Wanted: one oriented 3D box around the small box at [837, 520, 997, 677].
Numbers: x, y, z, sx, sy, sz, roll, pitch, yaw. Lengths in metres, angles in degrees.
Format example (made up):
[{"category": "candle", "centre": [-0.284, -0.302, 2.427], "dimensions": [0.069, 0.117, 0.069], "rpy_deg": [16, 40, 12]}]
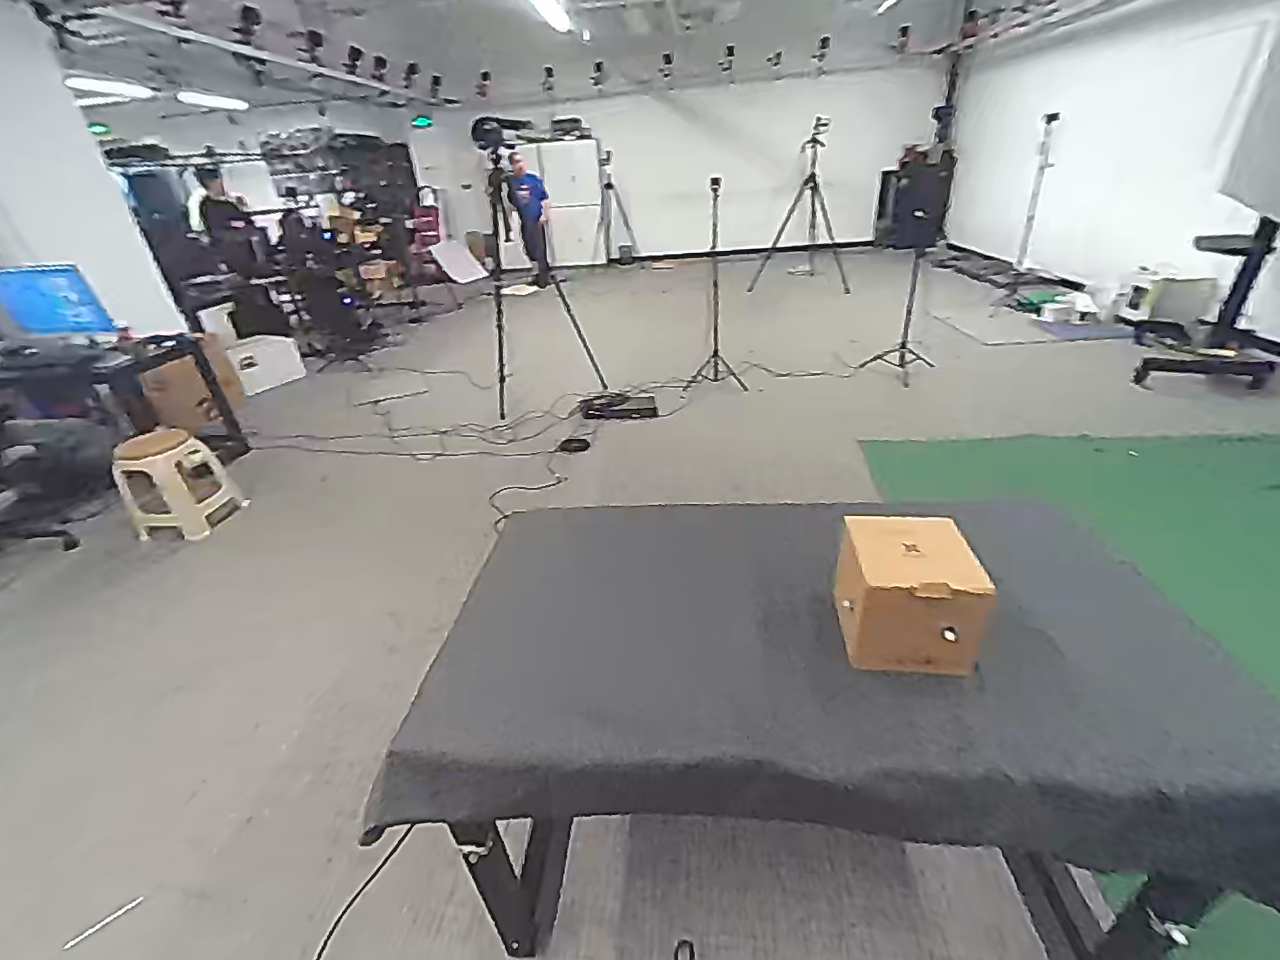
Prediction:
[{"category": "small box", "centre": [0.410, 0.179, 0.833], "dimensions": [0.168, 0.176, 0.179], "rpy_deg": [1, 29, 9]}]
